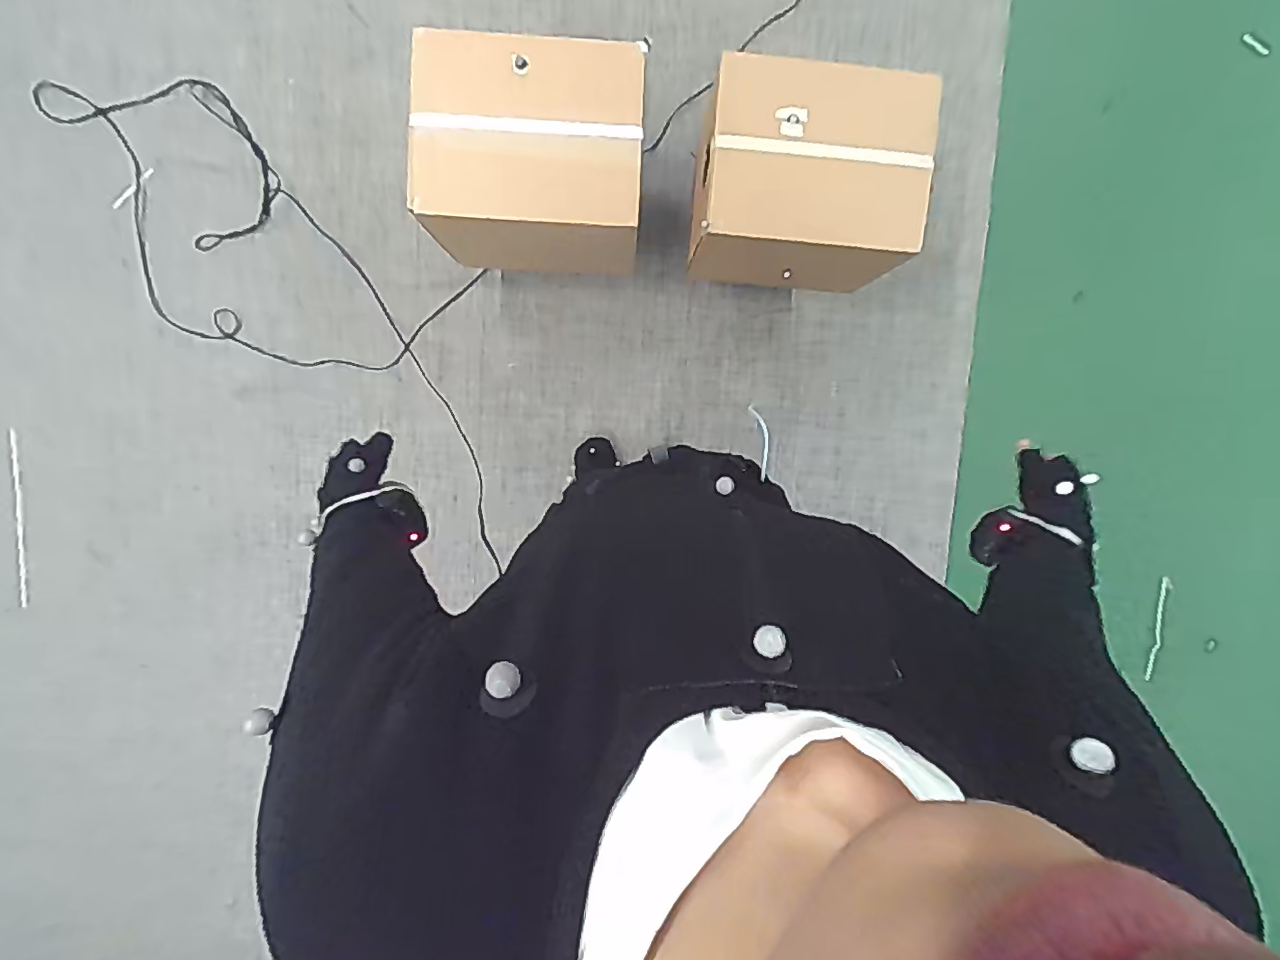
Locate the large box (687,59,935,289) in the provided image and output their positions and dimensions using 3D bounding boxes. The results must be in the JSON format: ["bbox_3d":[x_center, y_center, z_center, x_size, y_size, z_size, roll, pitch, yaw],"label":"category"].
[{"bbox_3d":[0.327,-0.607,1.140,0.408,0.320,0.320,5,95,-2],"label":"large box"}]
